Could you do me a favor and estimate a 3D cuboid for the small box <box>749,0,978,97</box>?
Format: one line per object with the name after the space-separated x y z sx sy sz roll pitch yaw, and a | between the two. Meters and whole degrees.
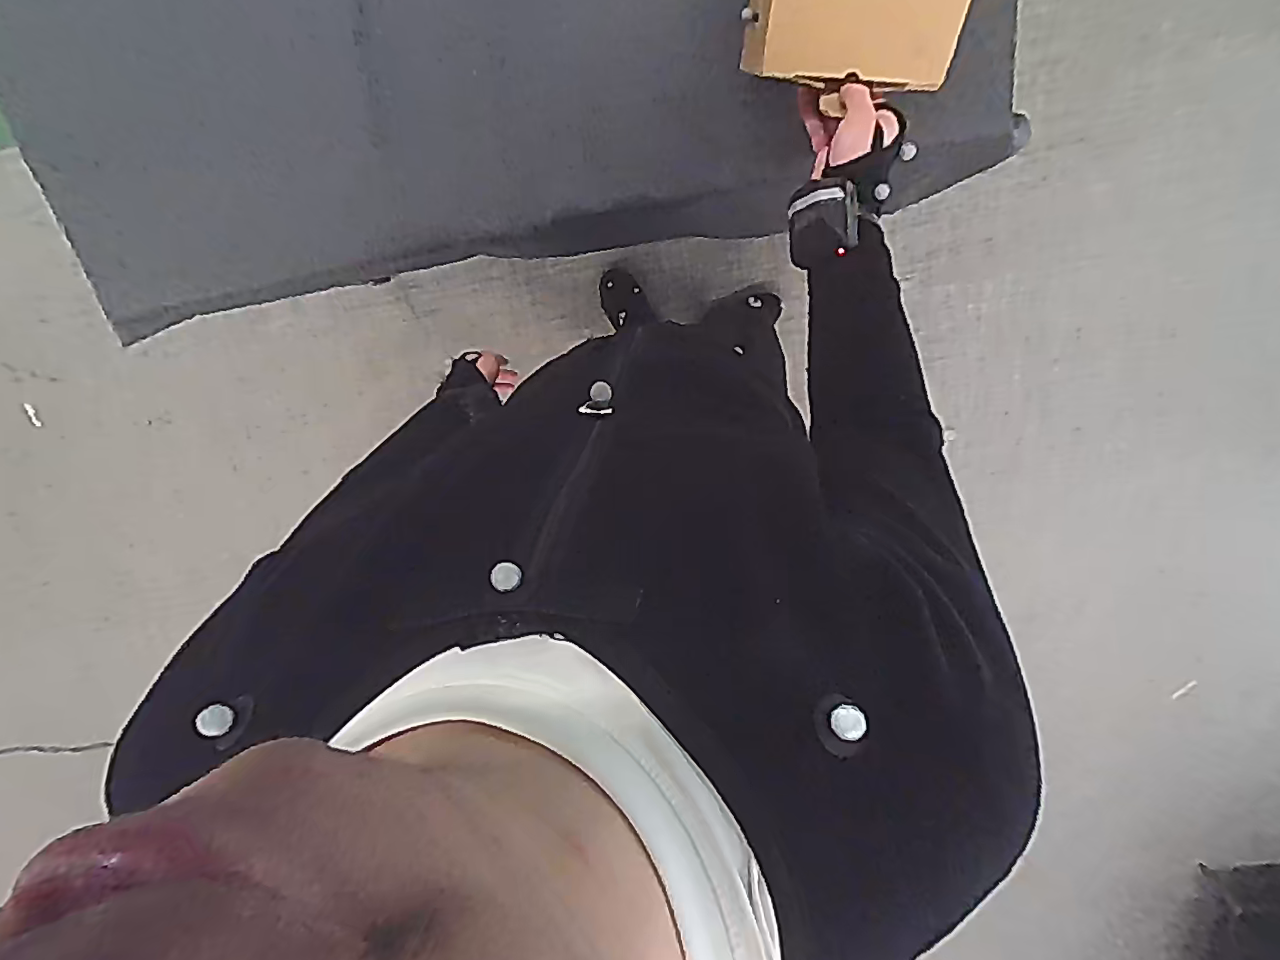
0.202 -0.469 0.493 0.168 0.176 0.179 4 128 -2 | small box
